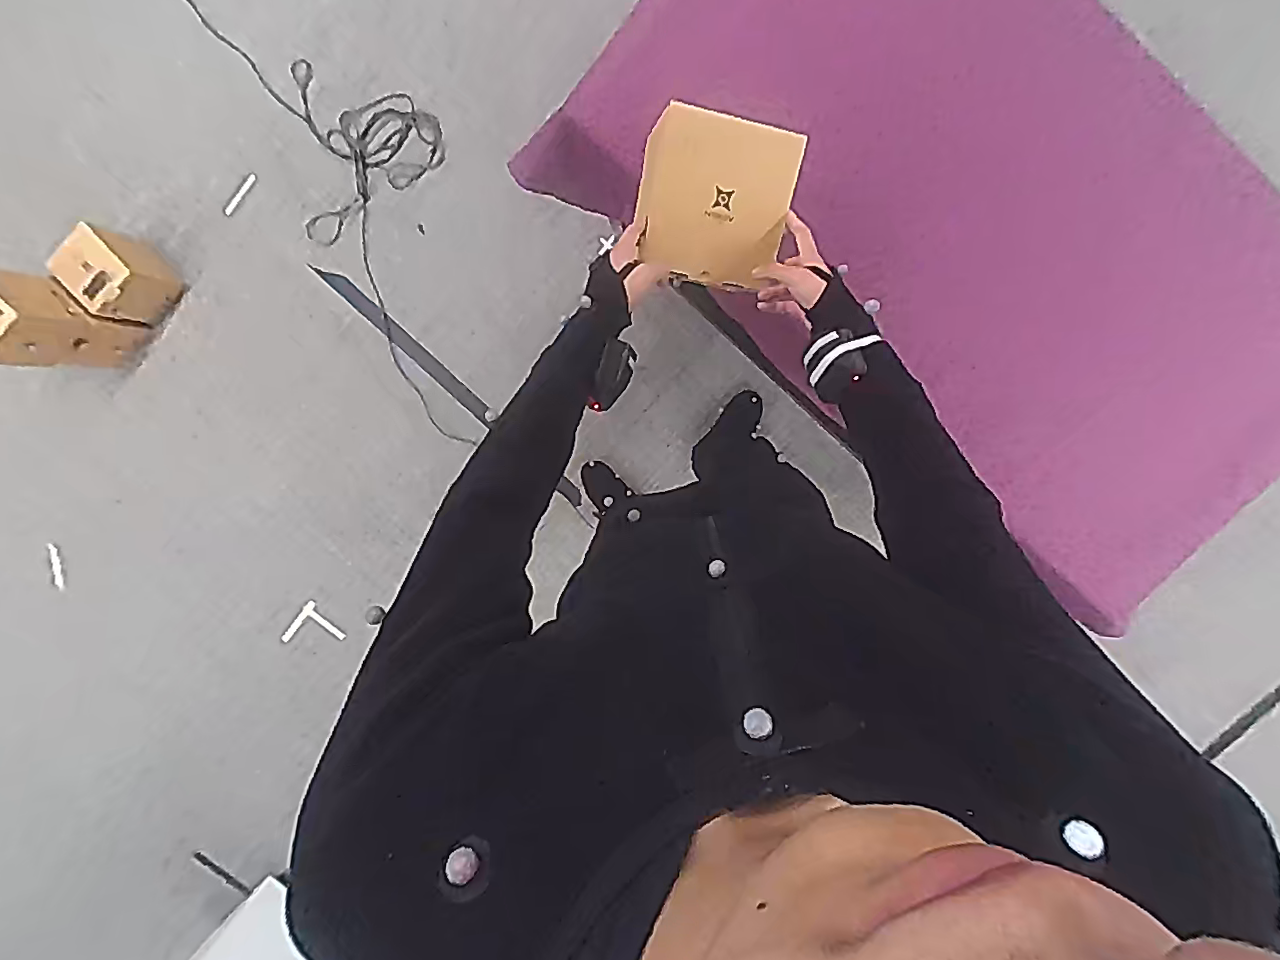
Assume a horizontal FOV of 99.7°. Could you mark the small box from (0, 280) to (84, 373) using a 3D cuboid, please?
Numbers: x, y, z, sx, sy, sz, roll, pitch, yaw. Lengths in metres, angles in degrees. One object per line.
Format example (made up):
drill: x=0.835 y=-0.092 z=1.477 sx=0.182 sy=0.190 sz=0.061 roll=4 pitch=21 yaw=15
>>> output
small box: x=-1.578 y=-0.387 z=1.359 sx=0.179 sy=0.176 sz=0.168 roll=-42 pitch=95 yaw=9

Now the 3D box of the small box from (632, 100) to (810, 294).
small box: x=0.090 y=-0.352 z=0.704 sx=0.168 sy=0.176 sz=0.179 roll=8 pitch=111 yaw=-11
